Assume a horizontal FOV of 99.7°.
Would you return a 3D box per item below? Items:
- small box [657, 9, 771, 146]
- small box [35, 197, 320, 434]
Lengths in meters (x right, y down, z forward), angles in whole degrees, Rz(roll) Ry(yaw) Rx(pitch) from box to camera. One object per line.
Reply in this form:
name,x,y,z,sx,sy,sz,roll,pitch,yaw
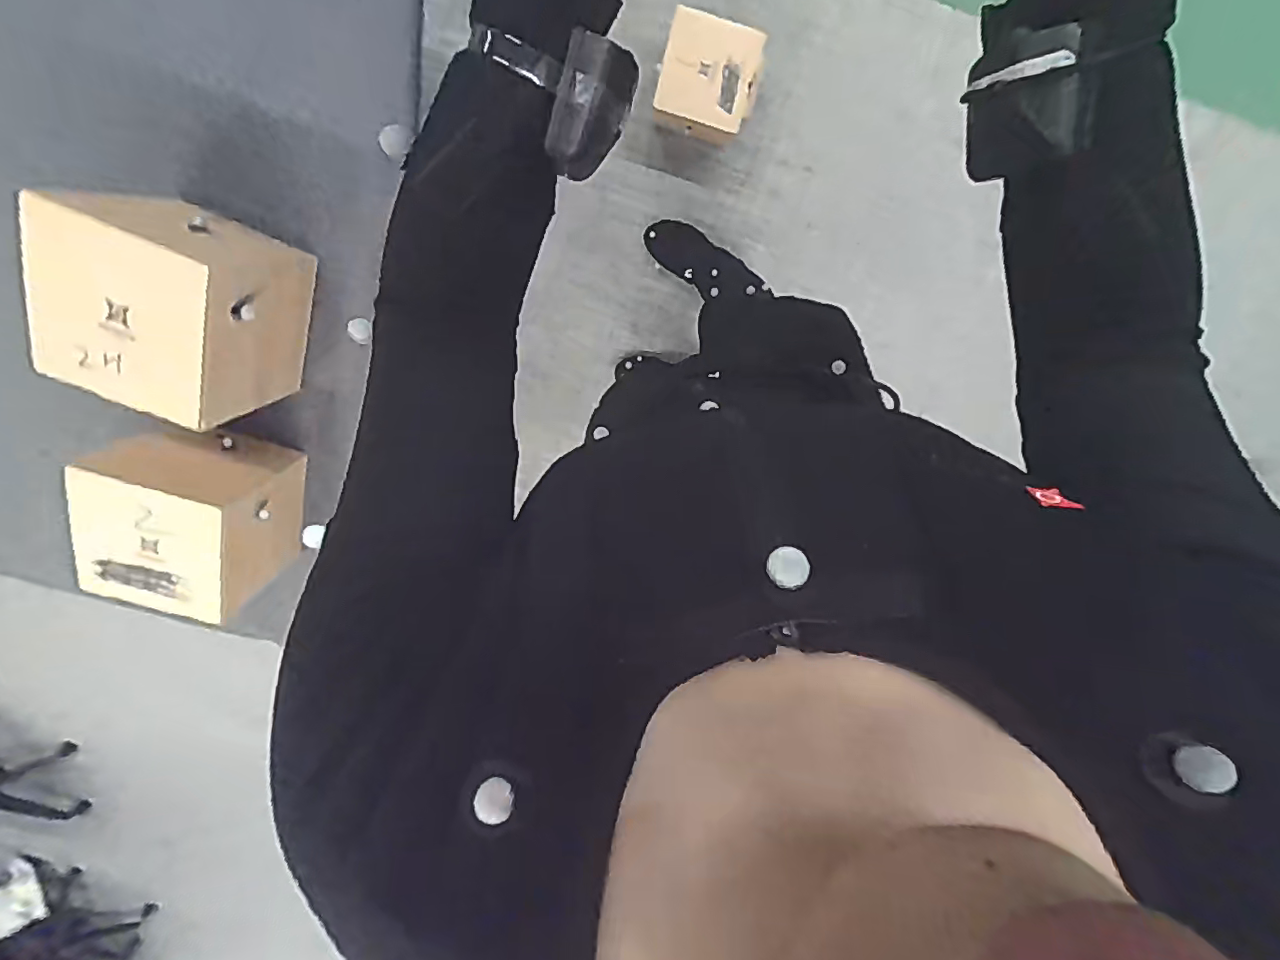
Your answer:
small box,0.140,-0.793,1.087,0.179,0.176,0.168,15,114,-4
small box,-0.482,-0.181,0.590,0.168,0.176,0.179,22,115,-6
